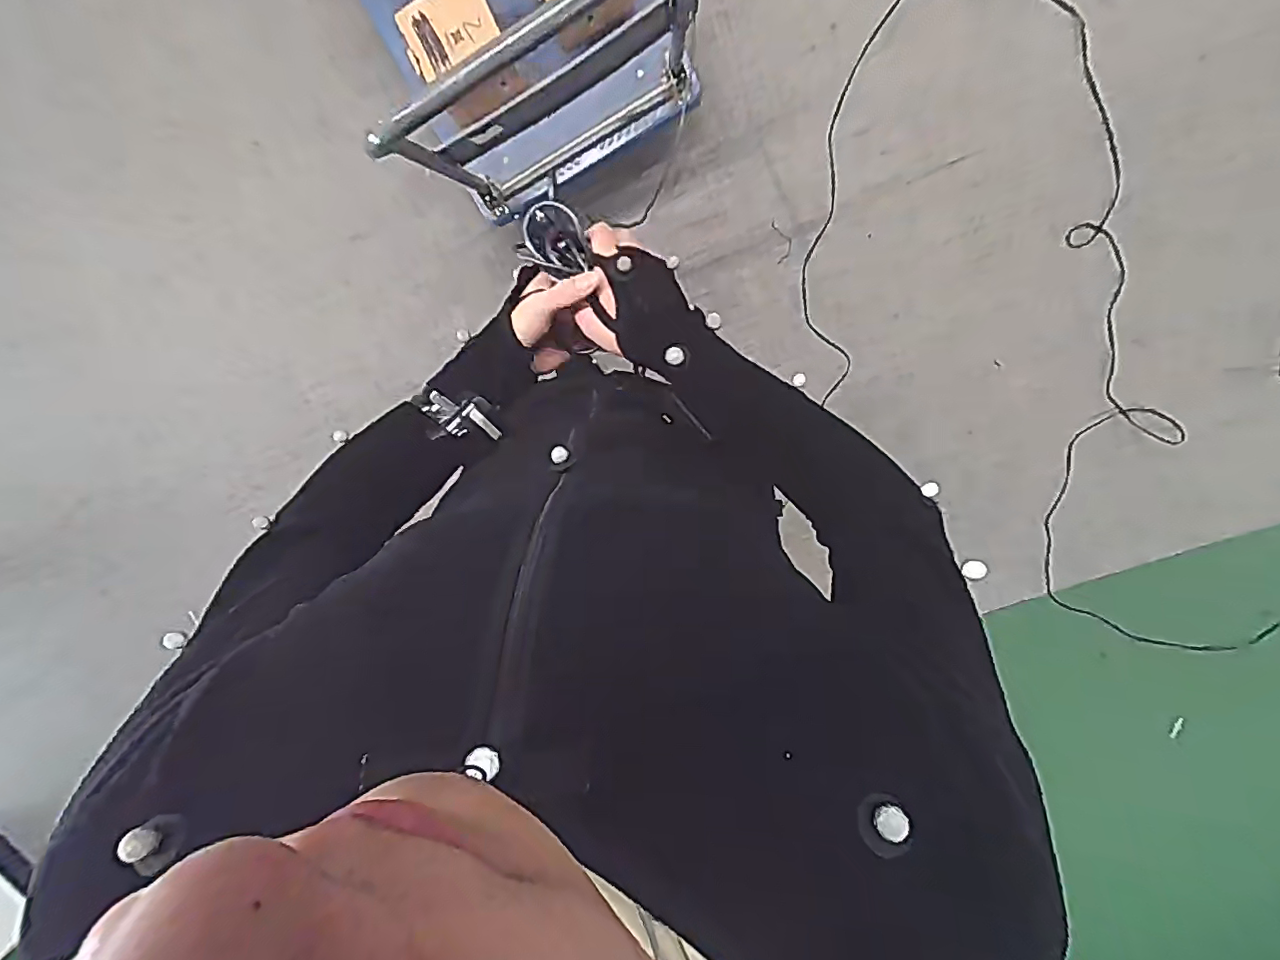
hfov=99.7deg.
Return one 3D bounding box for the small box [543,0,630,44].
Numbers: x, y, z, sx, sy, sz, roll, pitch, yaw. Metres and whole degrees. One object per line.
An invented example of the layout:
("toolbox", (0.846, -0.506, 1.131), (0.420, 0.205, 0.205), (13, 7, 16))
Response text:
("small box", (-0.128, -1.010, 1.049), (0.168, 0.176, 0.179), (-24, 107, 10))
